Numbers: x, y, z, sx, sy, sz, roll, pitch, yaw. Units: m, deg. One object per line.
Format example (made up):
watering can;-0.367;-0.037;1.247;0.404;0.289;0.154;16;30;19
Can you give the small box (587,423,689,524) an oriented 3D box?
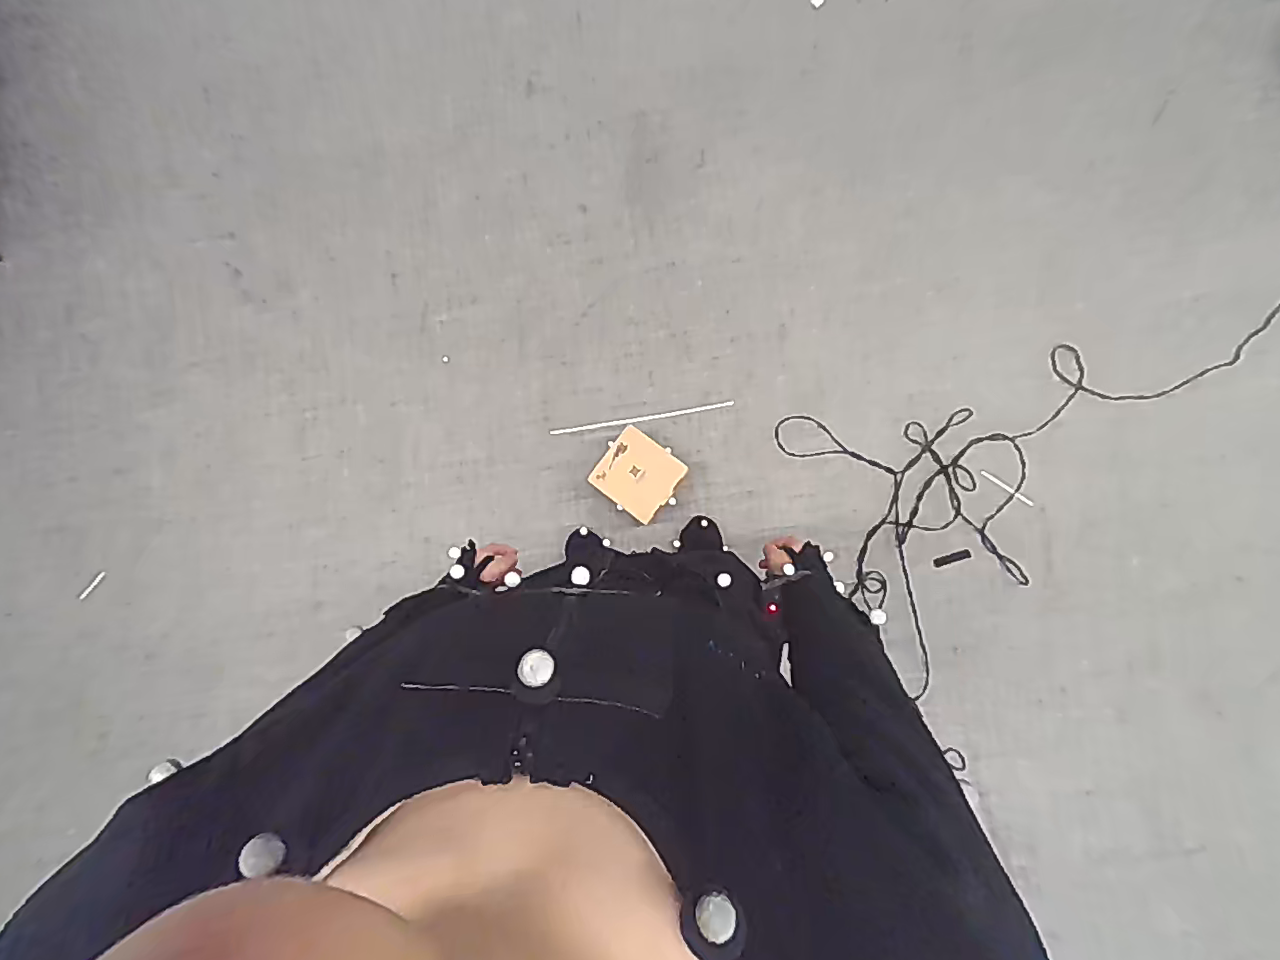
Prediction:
small box;0.002;-0.013;1.296;0.179;0.176;0.168;38;90;6
